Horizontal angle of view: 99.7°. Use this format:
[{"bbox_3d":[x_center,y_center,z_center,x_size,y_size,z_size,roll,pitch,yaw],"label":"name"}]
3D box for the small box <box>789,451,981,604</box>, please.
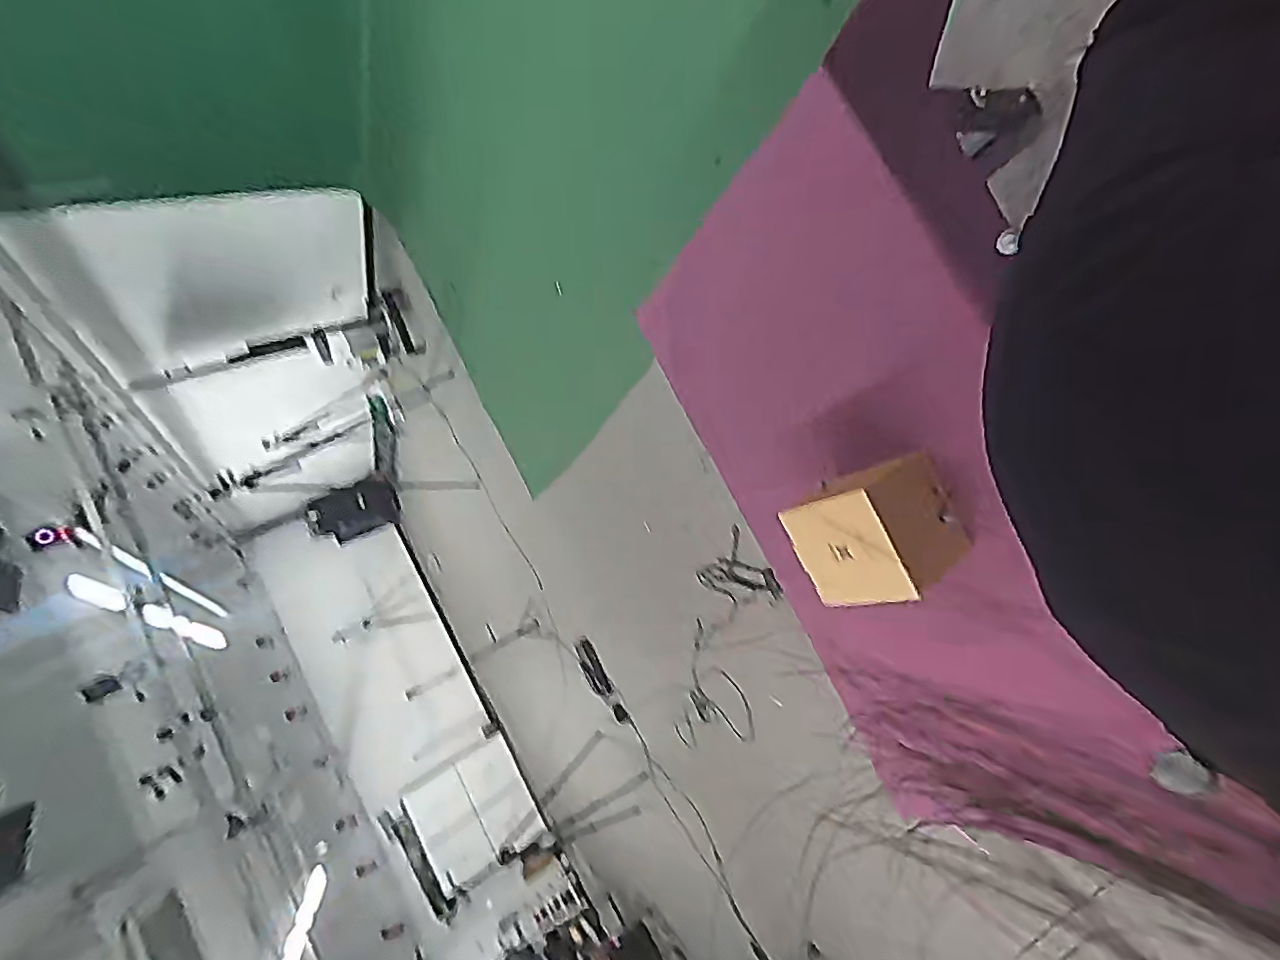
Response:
[{"bbox_3d":[0.374,0.076,0.833,0.168,0.176,0.179,63,149,2],"label":"small box"}]
